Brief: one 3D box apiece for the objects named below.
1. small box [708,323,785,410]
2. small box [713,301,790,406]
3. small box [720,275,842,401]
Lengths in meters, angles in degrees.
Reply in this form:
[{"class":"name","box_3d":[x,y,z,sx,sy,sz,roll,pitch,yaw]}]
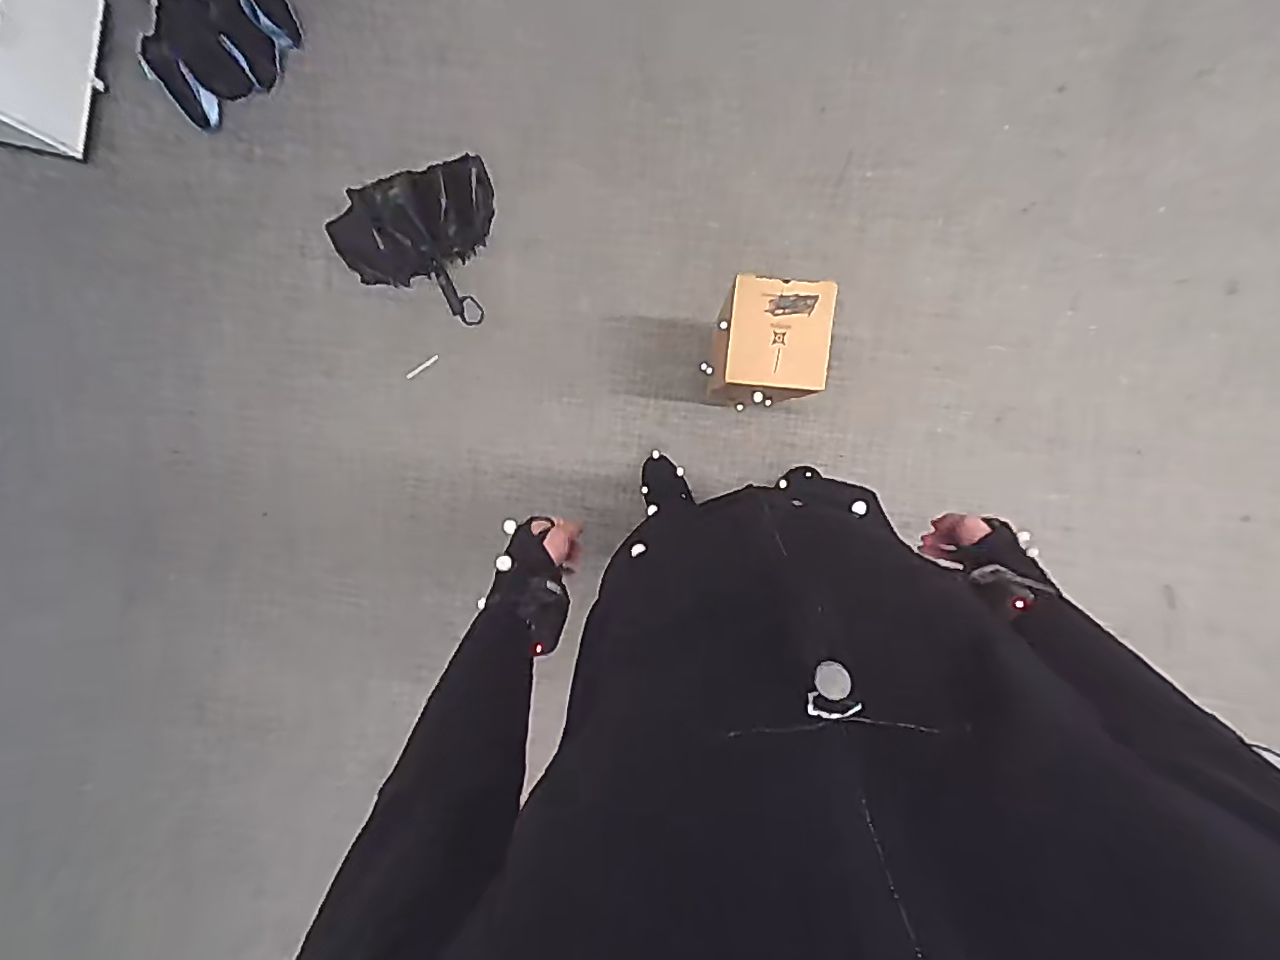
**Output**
[{"class":"small box","box_3d":[0.253,-0.259,1.275,0.168,0.176,0.179,5,94,2]},{"class":"small box","box_3d":[0.244,-0.252,1.114,0.168,0.176,0.179,5,92,2]},{"class":"small box","box_3d":[0.237,-0.240,0.950,0.168,0.176,0.179,6,95,3]}]
